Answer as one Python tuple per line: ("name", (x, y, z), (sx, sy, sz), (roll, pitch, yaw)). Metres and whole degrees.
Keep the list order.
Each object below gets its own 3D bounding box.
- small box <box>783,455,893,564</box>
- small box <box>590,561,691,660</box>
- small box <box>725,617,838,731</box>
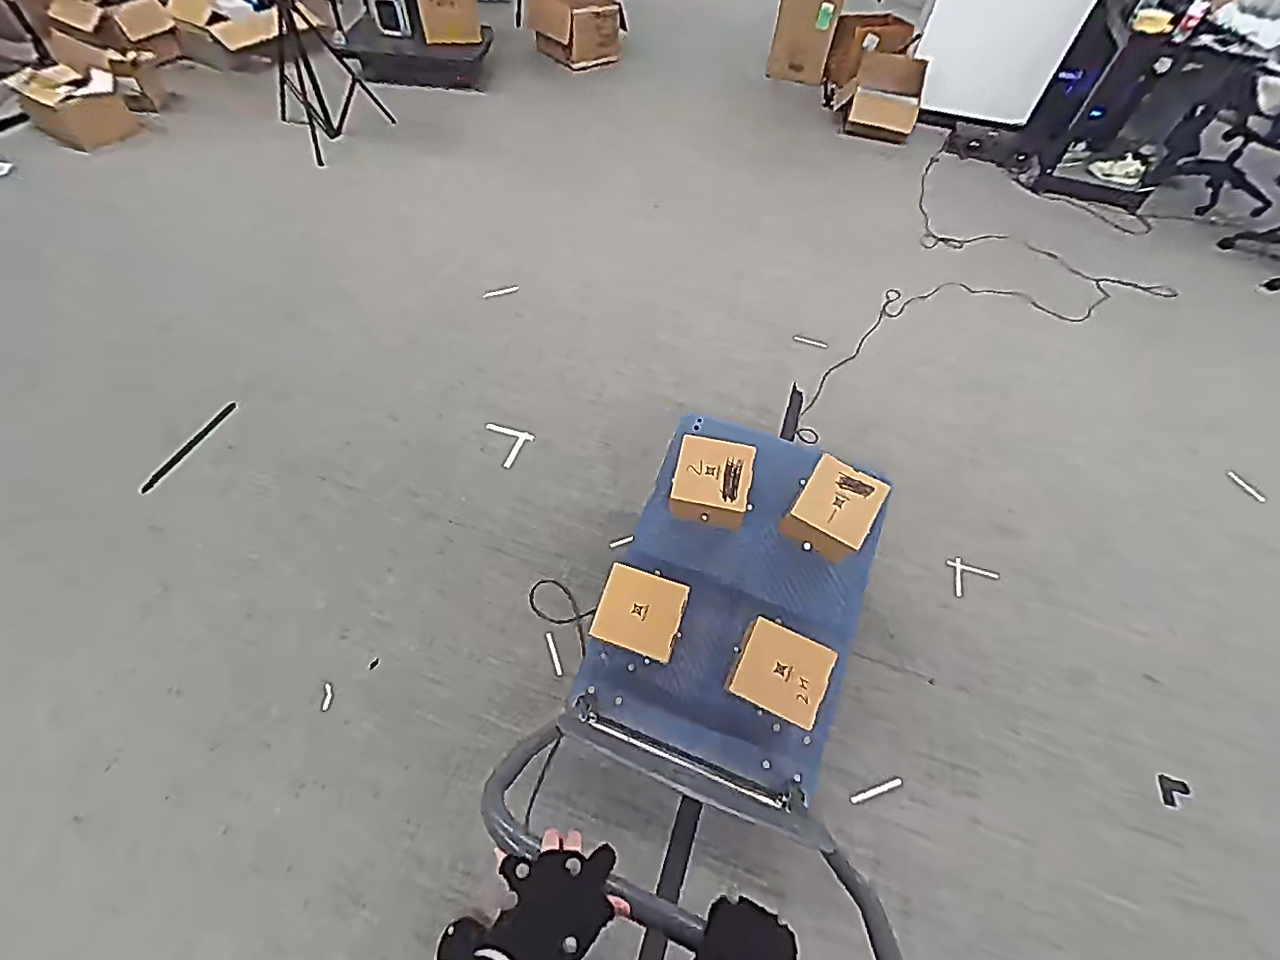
("small box", (0.459, 0.076, 1.283), (0.168, 0.176, 0.179), (31, 75, 13))
("small box", (0.004, 0.303, 1.225), (0.179, 0.176, 0.168), (18, 72, 8))
("small box", (0.295, 0.416, 1.166), (0.179, 0.176, 0.168), (25, 74, 12))
